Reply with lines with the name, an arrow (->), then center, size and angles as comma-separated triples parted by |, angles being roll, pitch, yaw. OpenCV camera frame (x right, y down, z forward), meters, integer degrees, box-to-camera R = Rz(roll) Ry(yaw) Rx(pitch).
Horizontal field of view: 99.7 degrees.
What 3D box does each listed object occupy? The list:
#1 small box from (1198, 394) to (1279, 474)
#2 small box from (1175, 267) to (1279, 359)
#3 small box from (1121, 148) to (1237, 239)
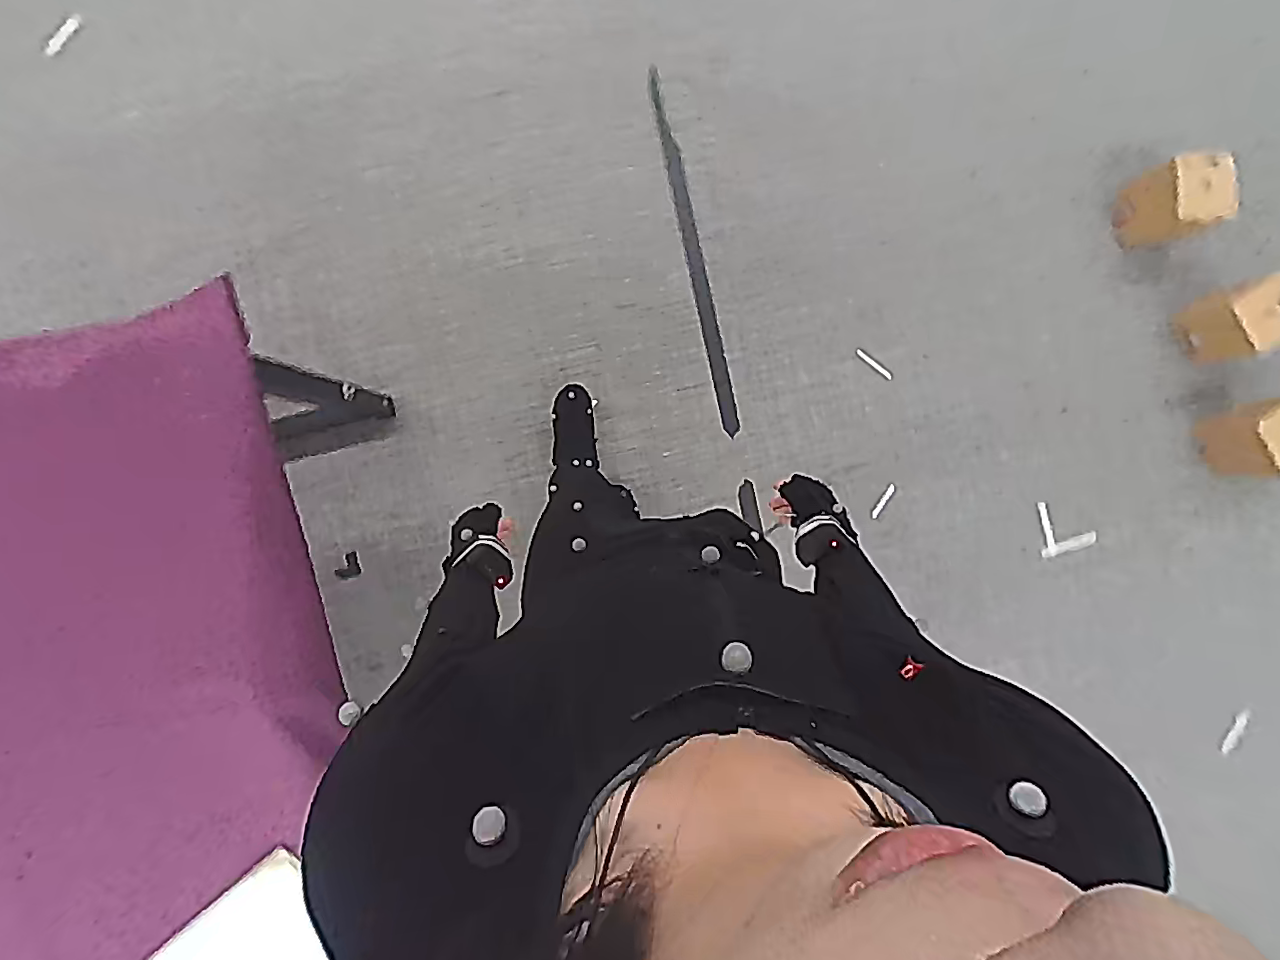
small box -> 1.767, -0.133, 1.530 | 0.168, 0.176, 0.179 | -33, 91, -3
small box -> 1.689, -0.464, 1.520 | 0.179, 0.176, 0.168 | -33, 92, -1
small box -> 1.495, -0.791, 1.509 | 0.168, 0.176, 0.179 | -2, 91, -3
